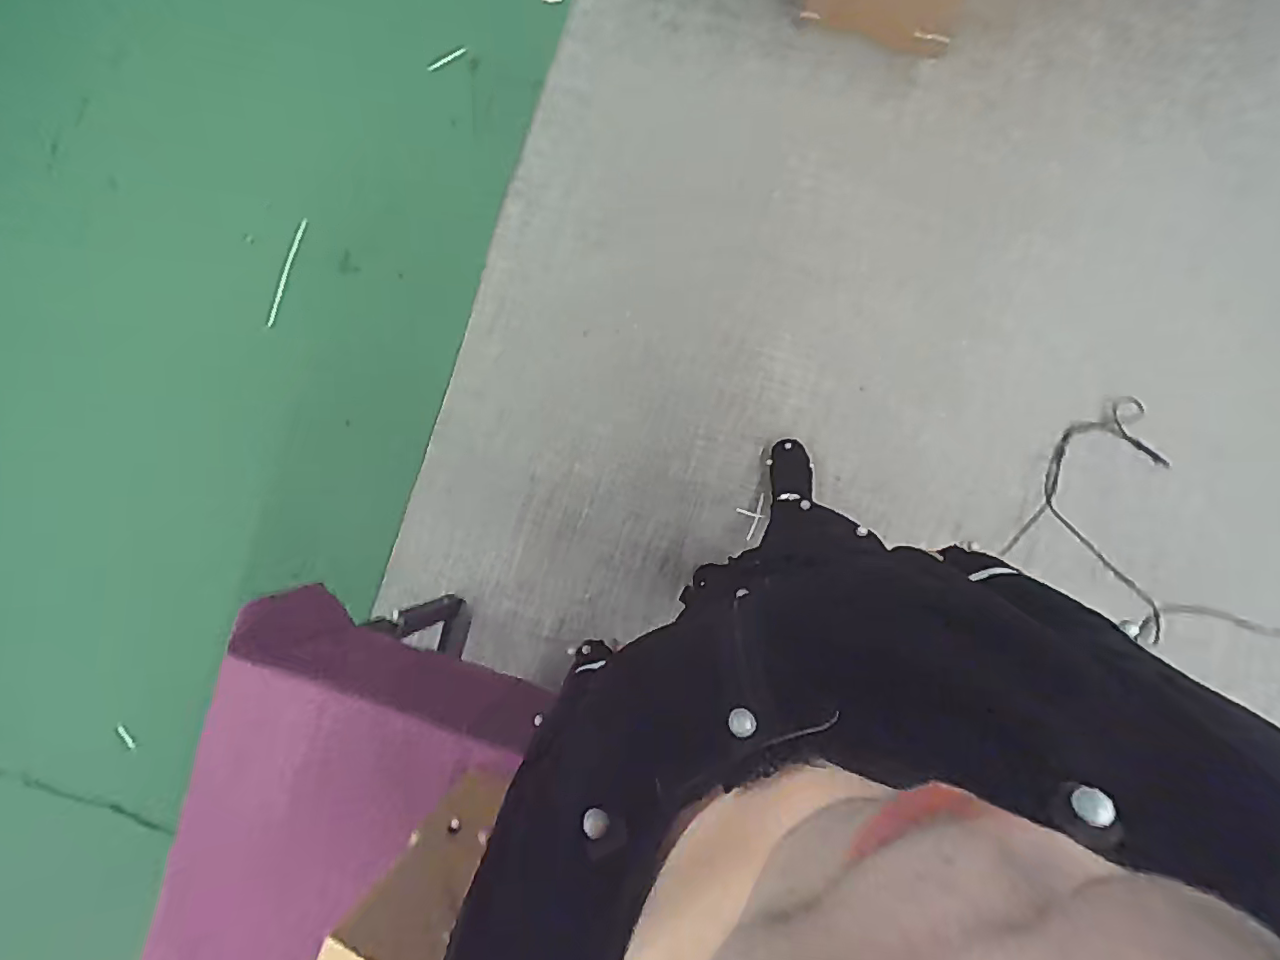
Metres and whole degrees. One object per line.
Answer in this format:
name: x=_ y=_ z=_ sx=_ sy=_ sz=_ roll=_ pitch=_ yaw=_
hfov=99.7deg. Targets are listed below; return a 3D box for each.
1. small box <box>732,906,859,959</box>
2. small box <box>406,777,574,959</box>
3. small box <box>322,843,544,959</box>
small box: x=0.191 y=0.683 z=0.660 sx=0.168 sy=0.176 sz=0.179 roll=17 pitch=91 yaw=9
small box: x=-0.205 y=0.539 z=0.728 sx=0.179 sy=0.176 sz=0.168 roll=16 pitch=90 yaw=9
small box: x=-0.223 y=0.531 z=0.565 sx=0.179 sy=0.176 sz=0.168 roll=21 pitch=91 yaw=9
